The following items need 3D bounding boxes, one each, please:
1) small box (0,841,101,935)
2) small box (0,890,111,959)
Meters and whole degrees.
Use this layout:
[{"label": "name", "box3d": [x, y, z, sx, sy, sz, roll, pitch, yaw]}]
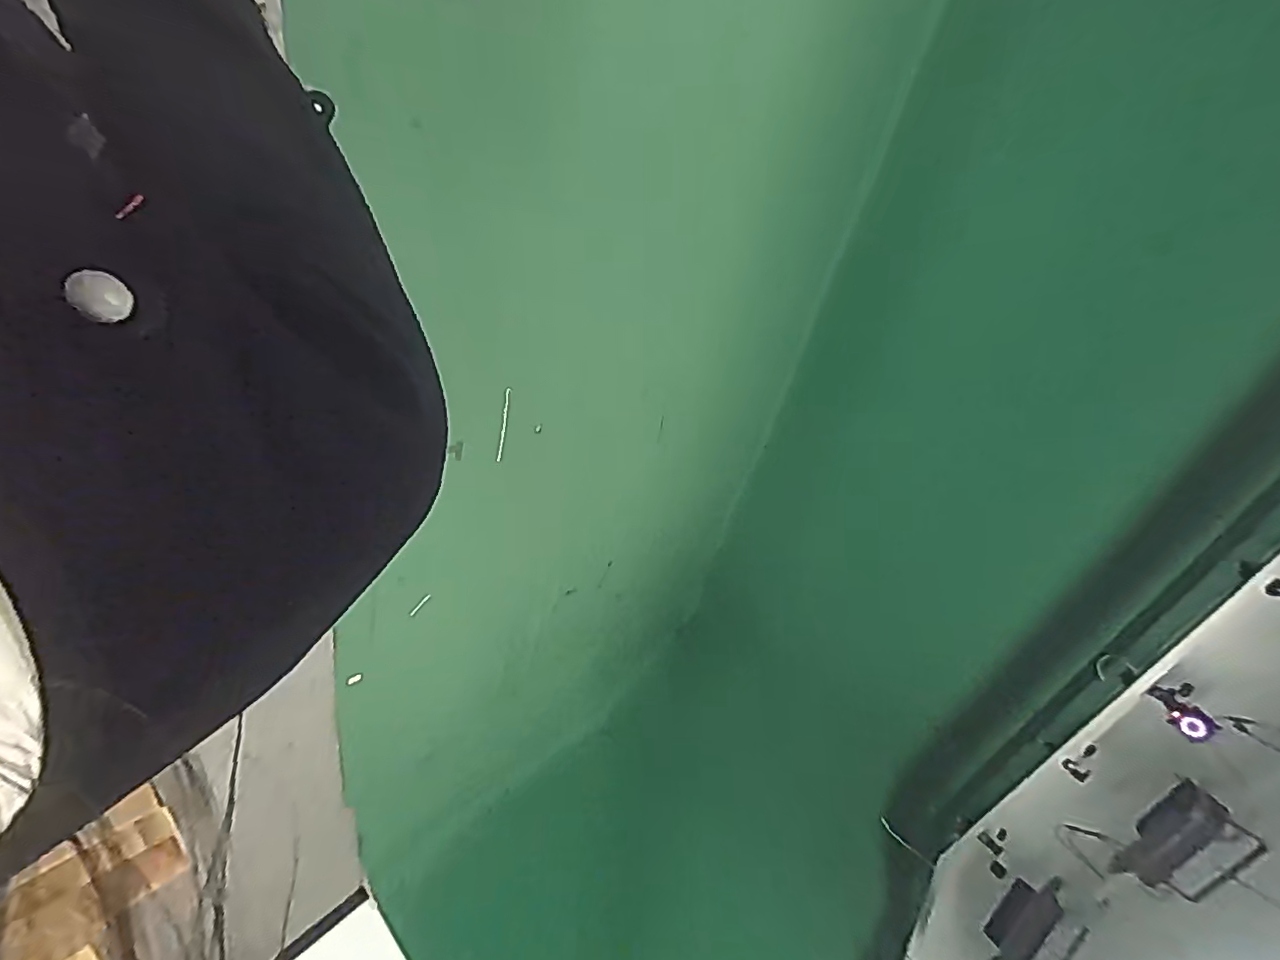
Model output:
[{"label": "small box", "box3d": [-1.640, 1.144, 1.480, 0.179, 0.176, 0.168, -25, 141, -43]}, {"label": "small box", "box3d": [-1.504, 1.214, 1.380, 0.179, 0.176, 0.168, -24, 140, -44]}]
